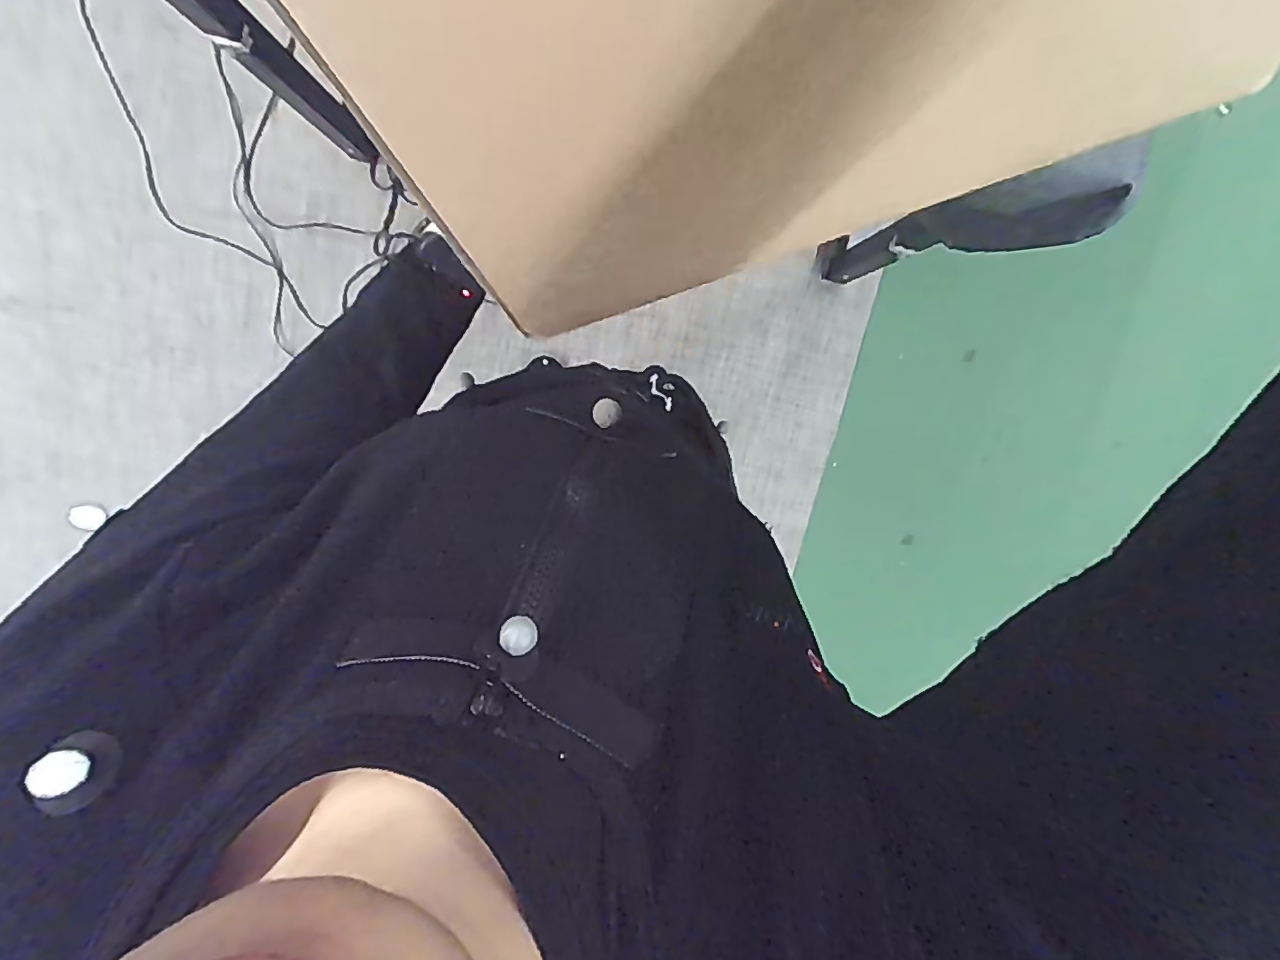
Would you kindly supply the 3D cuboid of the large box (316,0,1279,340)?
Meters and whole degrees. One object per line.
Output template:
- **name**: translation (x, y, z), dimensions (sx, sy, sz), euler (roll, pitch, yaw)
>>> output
- **large box**: translation (0.060, -0.340, 0.274), dimensions (0.408, 0.320, 0.320), euler (-18, 59, 13)
